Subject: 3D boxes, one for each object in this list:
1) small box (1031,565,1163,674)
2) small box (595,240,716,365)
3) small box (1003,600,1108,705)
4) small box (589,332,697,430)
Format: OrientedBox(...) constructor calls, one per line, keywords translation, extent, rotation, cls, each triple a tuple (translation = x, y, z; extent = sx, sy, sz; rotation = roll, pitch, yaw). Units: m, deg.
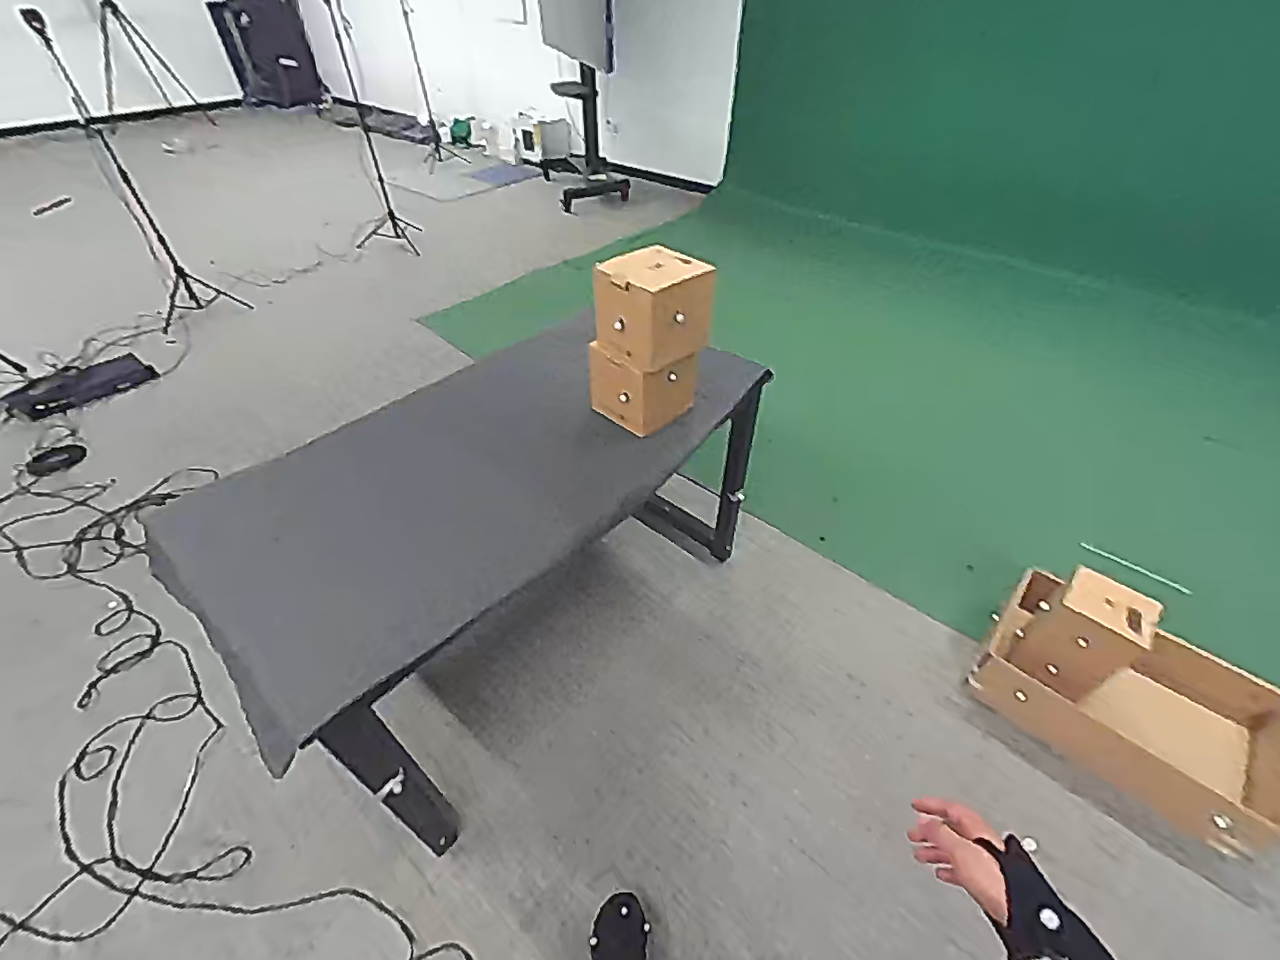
OrientedBox(translation=(1.125, 0.352, 1.339), extent=(0.179, 0.176, 0.168), rotation=(34, 53, 30), cls="small box")
OrientedBox(translation=(0.031, -0.353, 1.080), extent=(0.179, 0.176, 0.168), rotation=(-32, 53, -29), cls="small box")
OrientedBox(translation=(1.125, 0.467, 1.457), extent=(0.179, 0.176, 0.168), rotation=(34, 54, 28), cls="small box")
OrientedBox(translation=(0.009, -0.236, 1.194), extent=(0.168, 0.176, 0.179), rotation=(35, 52, 30), cls="small box")
